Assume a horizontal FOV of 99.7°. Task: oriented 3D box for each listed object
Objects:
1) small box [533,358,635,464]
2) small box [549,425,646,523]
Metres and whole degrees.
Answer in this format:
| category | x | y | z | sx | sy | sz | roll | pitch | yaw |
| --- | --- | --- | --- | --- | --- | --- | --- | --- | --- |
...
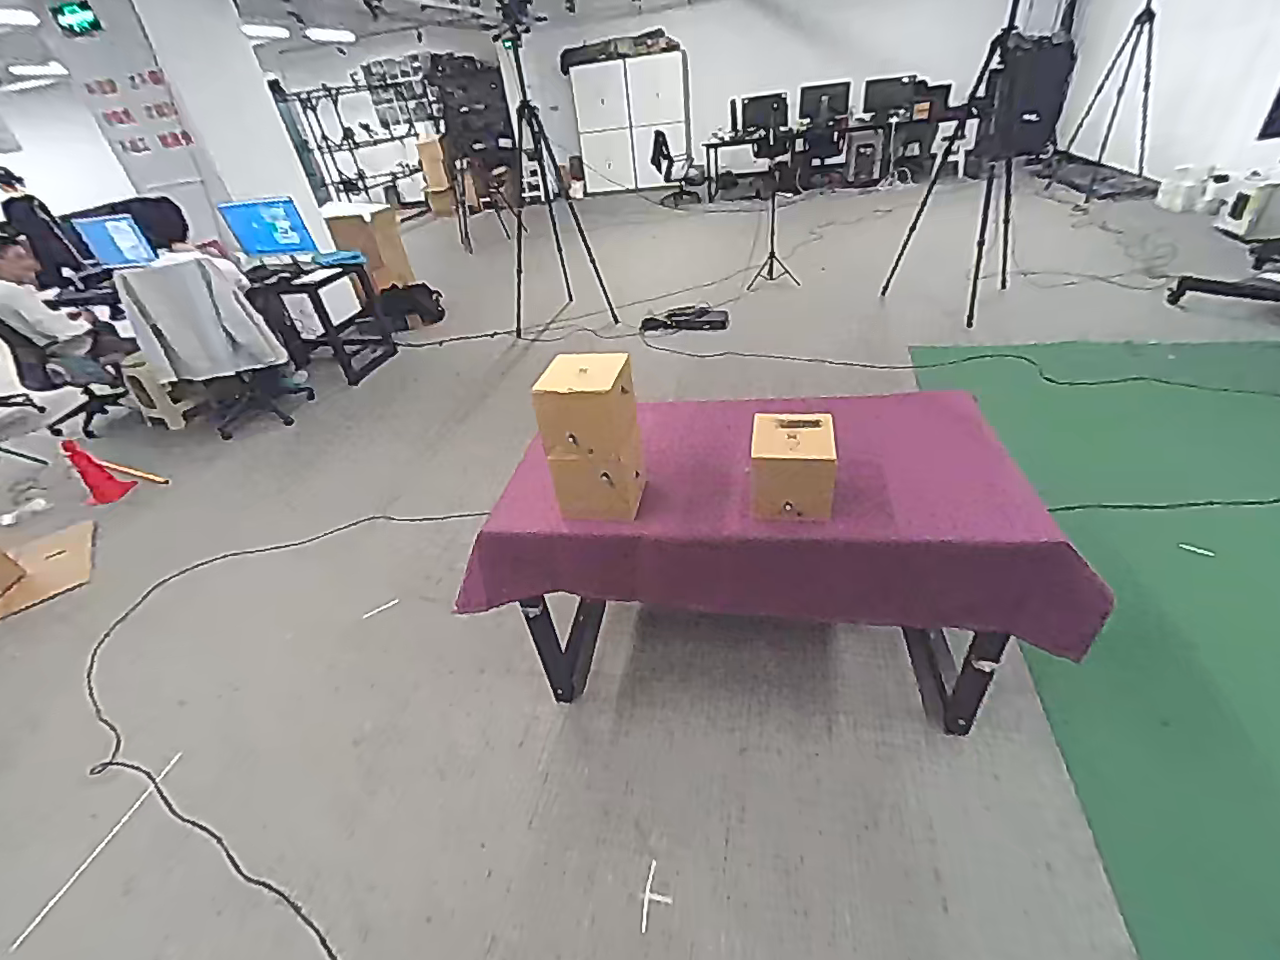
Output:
| category | x | y | z | sx | sy | sz | roll | pitch | yaw |
| --- | --- | --- | --- | --- | --- | --- | --- | --- | --- |
| small box | -0.110 | -0.151 | 1.170 | 0.168 | 0.176 | 0.179 | 1 | 38 | 14 |
| small box | -0.089 | -0.014 | 1.257 | 0.179 | 0.176 | 0.168 | 1 | 36 | 14 |
